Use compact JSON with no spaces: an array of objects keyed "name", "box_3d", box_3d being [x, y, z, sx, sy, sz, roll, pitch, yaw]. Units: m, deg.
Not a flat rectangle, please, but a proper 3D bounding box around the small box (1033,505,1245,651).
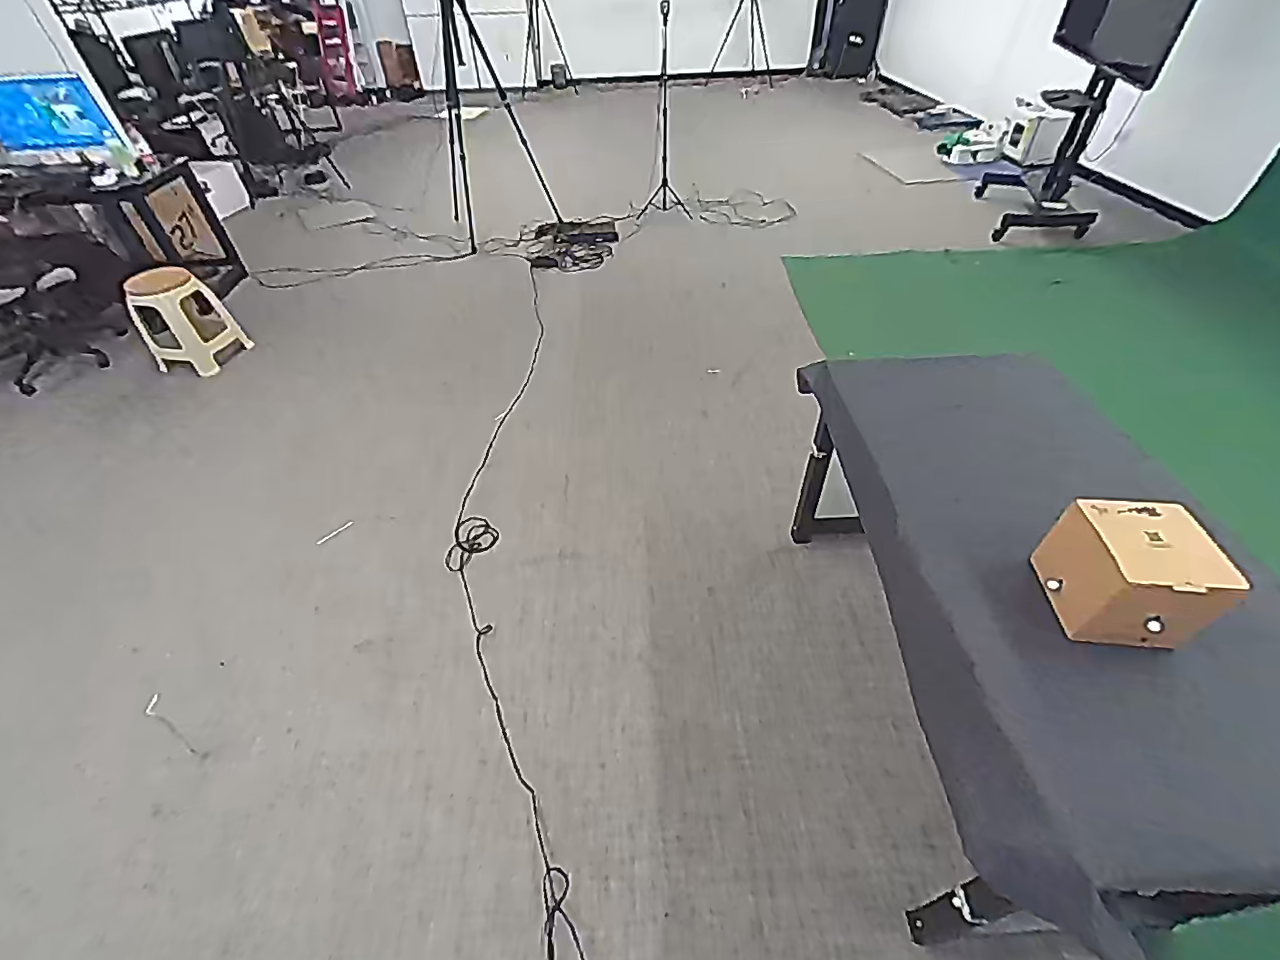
[{"name":"small box","box_3d":[0.804,0.164,0.899,0.168,0.176,0.179,4,45,6]}]
